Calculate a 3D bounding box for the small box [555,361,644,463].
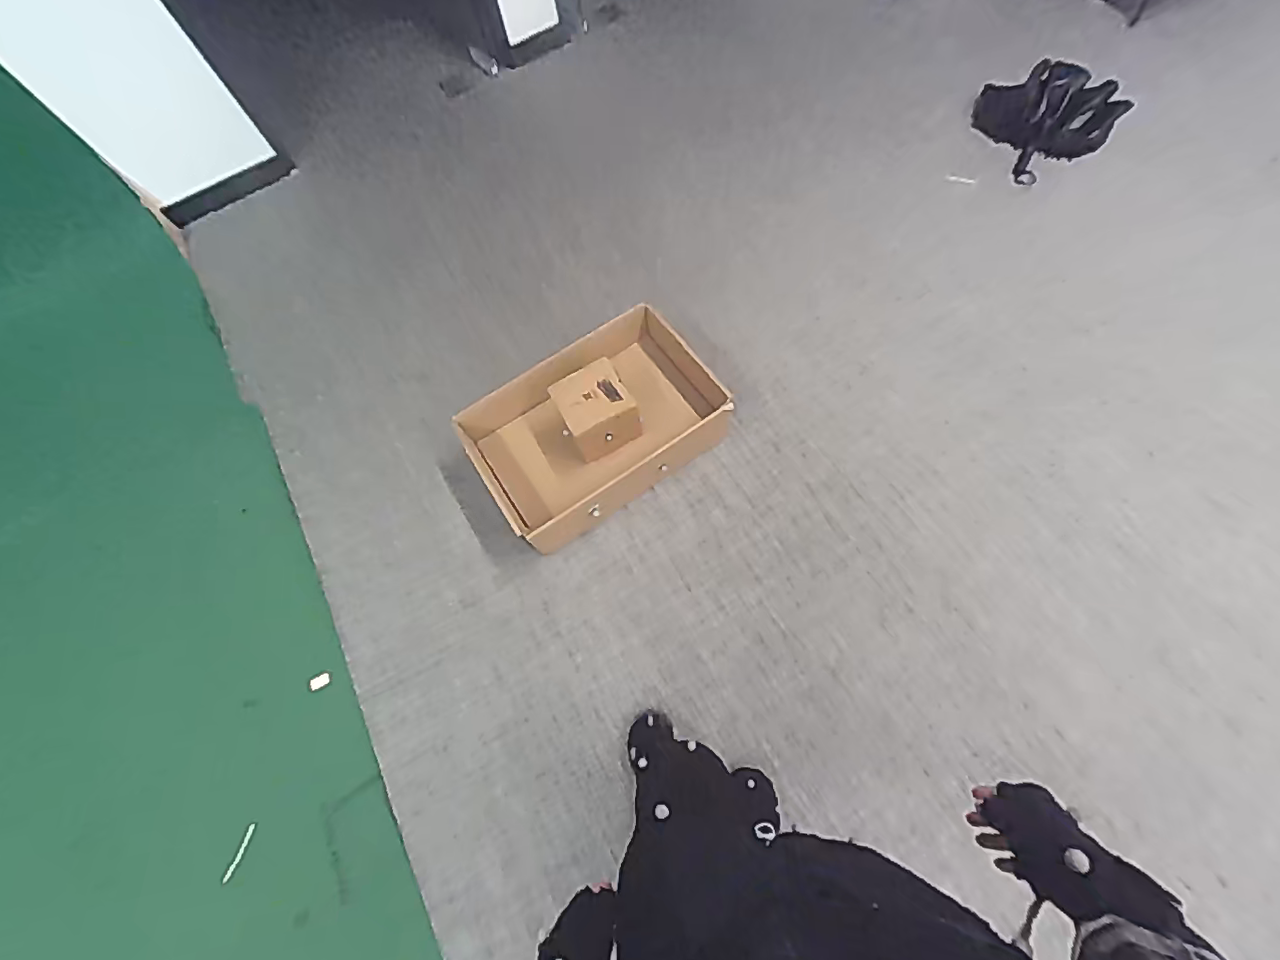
[{"bbox_3d":[-0.099,-0.175,1.434,0.179,0.176,0.168,-29,67,-3],"label":"small box"}]
